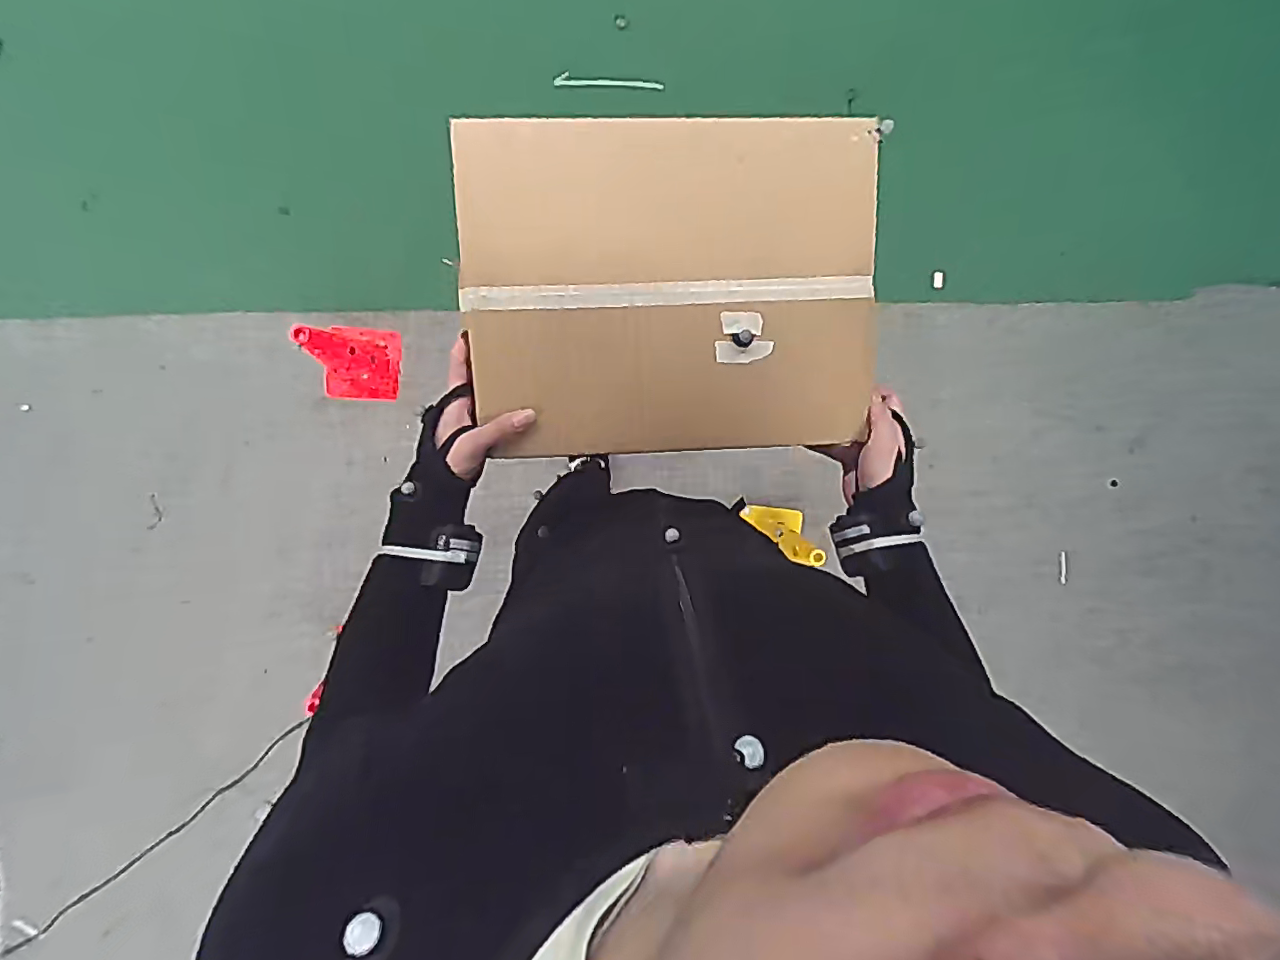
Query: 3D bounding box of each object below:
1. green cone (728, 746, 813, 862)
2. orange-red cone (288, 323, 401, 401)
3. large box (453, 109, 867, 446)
[{"bbox_3d":[0.395,0.934,1.519,0.200,0.368,0.202,3,90,-7],"label":"green cone"},{"bbox_3d":[-0.769,-0.325,1.353,0.199,0.360,0.198,4,90,-5],"label":"orange-red cone"},{"bbox_3d":[0.017,-0.222,0.683,0.408,0.320,0.320,-3,101,-5],"label":"large box"}]
